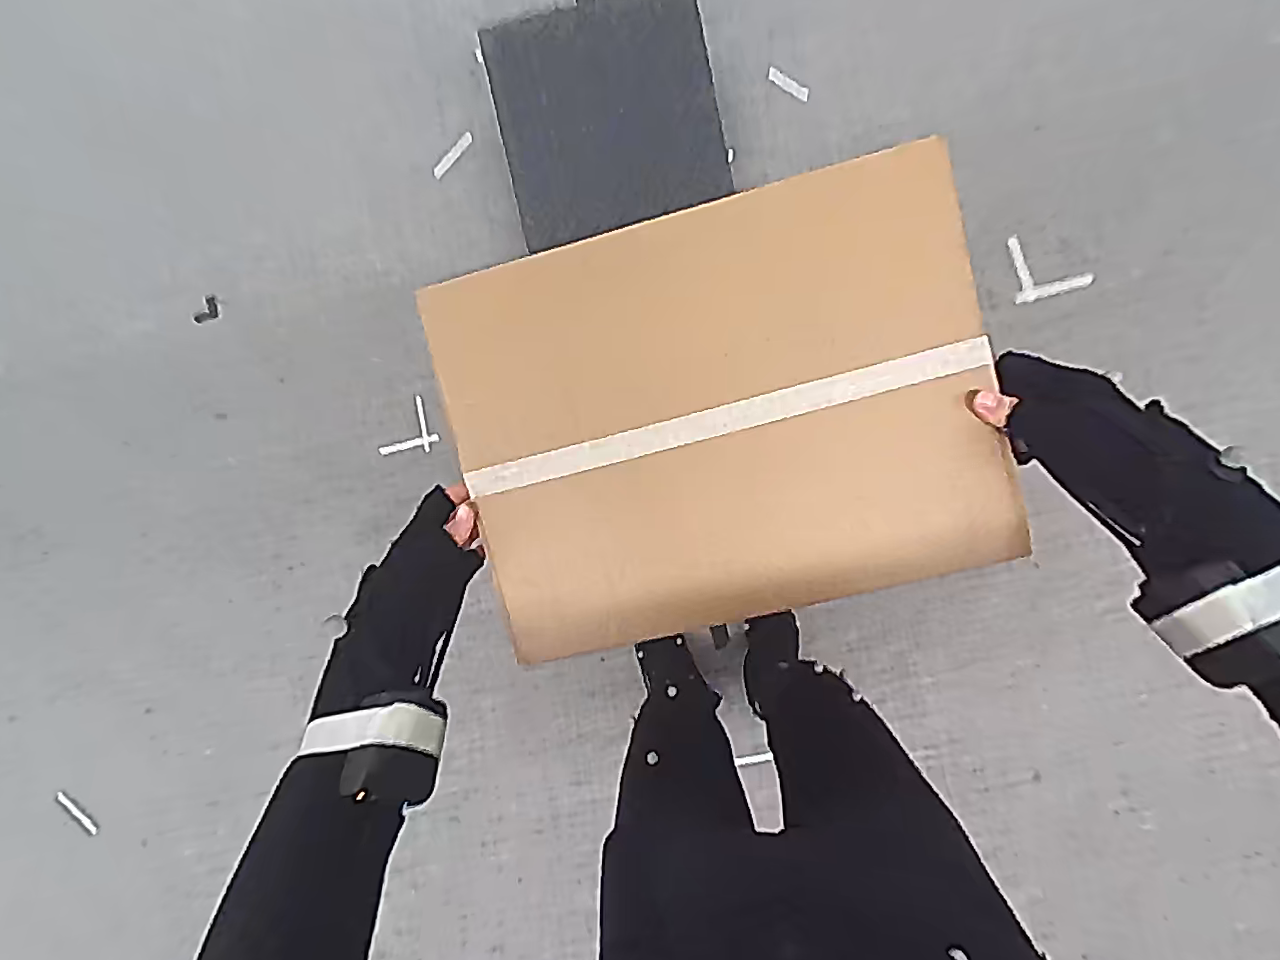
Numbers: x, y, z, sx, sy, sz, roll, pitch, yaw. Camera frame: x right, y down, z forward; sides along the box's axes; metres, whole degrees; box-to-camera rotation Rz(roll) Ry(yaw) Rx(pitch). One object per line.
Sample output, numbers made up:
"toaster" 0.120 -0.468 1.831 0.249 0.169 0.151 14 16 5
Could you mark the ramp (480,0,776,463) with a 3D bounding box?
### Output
"ramp" -0.017 -0.573 1.245 0.509 0.206 0.991 -14 84 2
